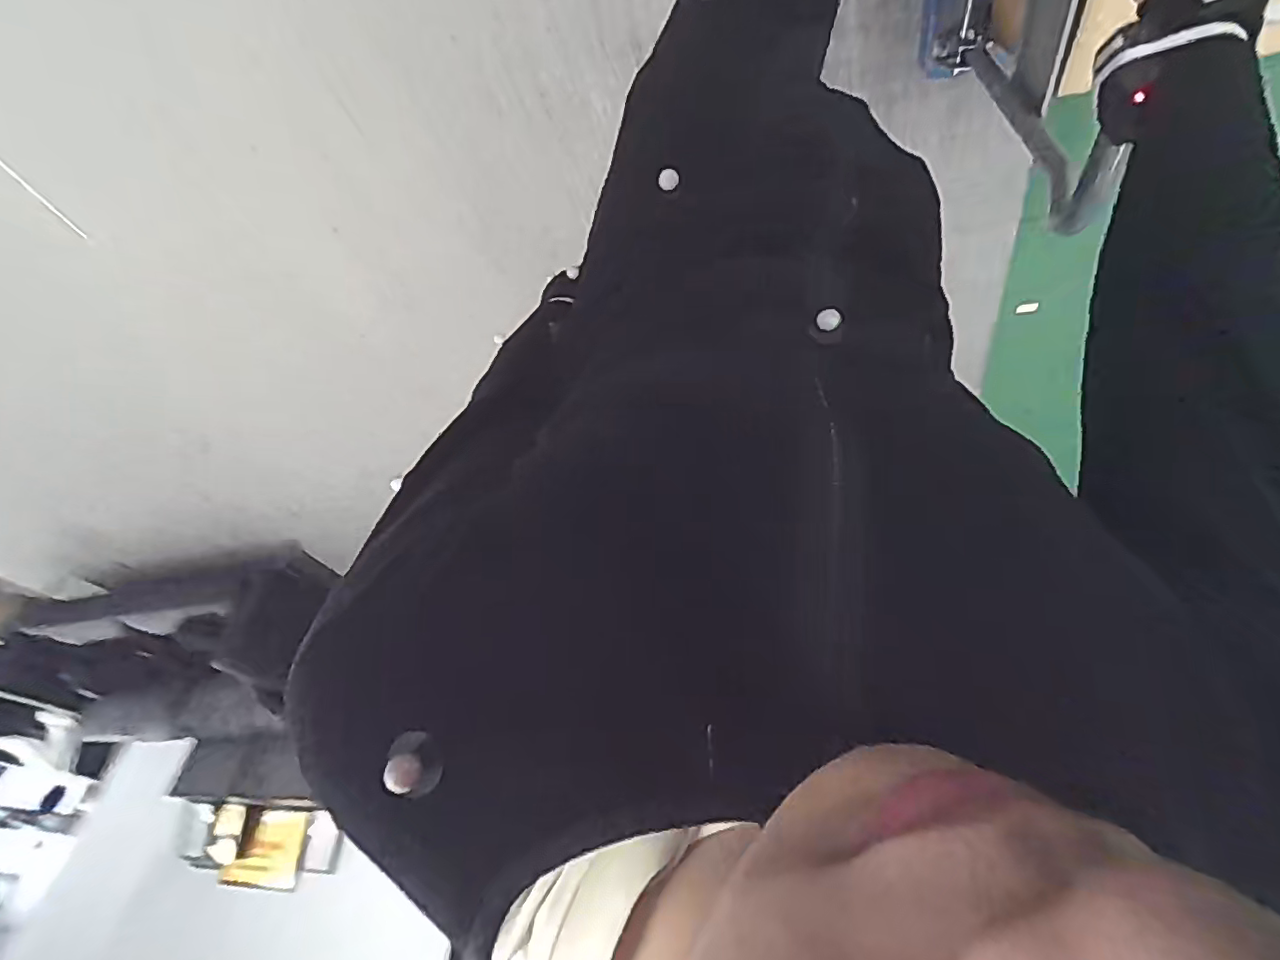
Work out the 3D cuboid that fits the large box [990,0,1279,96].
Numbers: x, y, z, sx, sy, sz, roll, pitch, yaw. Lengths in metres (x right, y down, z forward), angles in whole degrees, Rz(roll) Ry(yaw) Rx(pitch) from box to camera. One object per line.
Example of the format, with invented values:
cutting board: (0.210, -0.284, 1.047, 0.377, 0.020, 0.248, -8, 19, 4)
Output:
large box: (0.761, -0.776, 0.711, 0.408, 0.320, 0.320, -5, 141, 12)
